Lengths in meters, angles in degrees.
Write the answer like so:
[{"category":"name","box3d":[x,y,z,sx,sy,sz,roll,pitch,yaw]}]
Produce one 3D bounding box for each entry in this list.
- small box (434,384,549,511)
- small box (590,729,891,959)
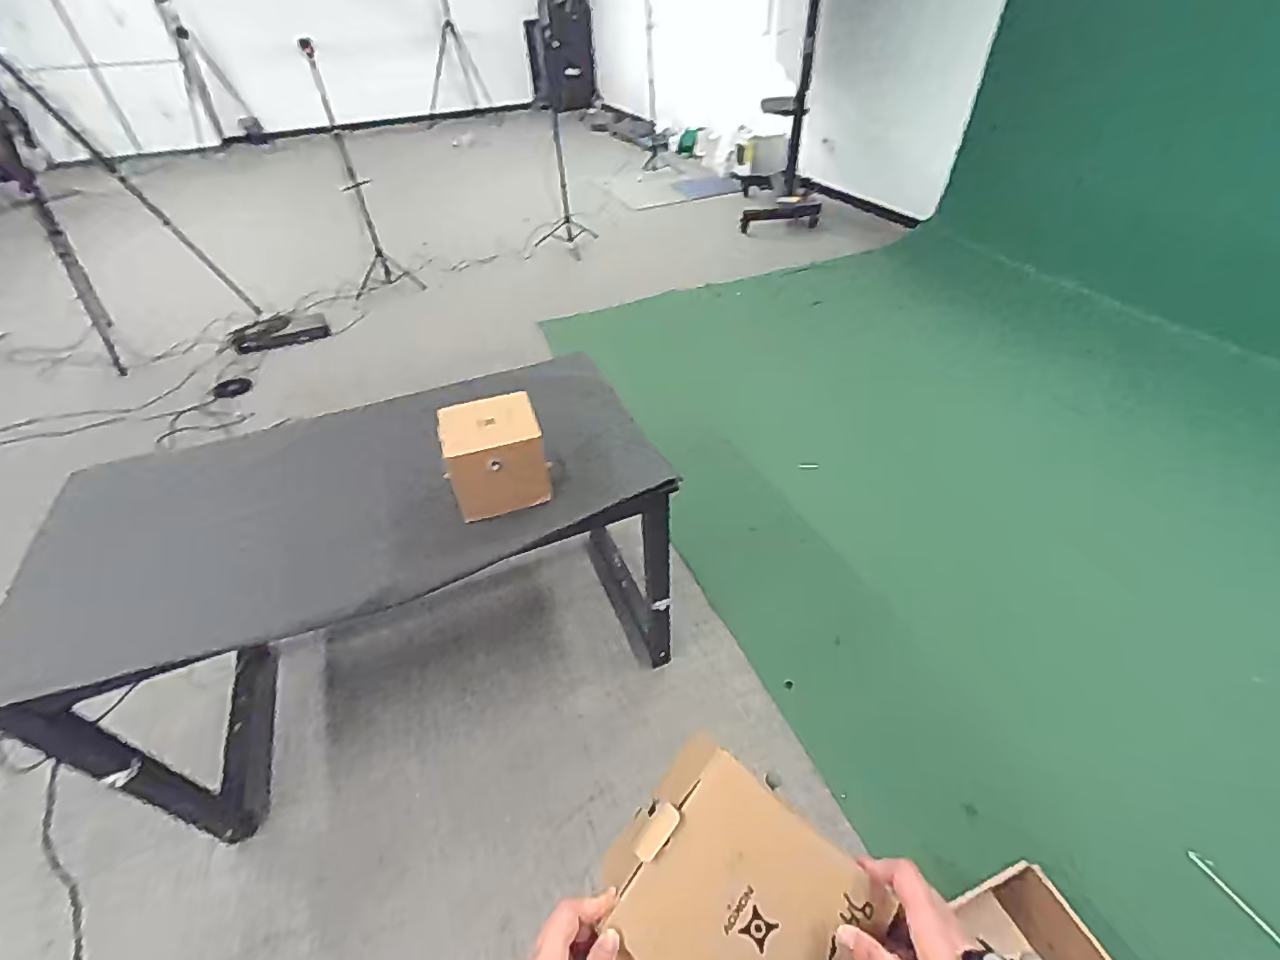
[{"category":"small box","box3d":[-0.290,-0.063,1.063,0.179,0.176,0.168,-14,44,-14]},{"category":"small box","box3d":[0.074,0.348,0.484,0.179,0.176,0.168,38,74,9]}]
